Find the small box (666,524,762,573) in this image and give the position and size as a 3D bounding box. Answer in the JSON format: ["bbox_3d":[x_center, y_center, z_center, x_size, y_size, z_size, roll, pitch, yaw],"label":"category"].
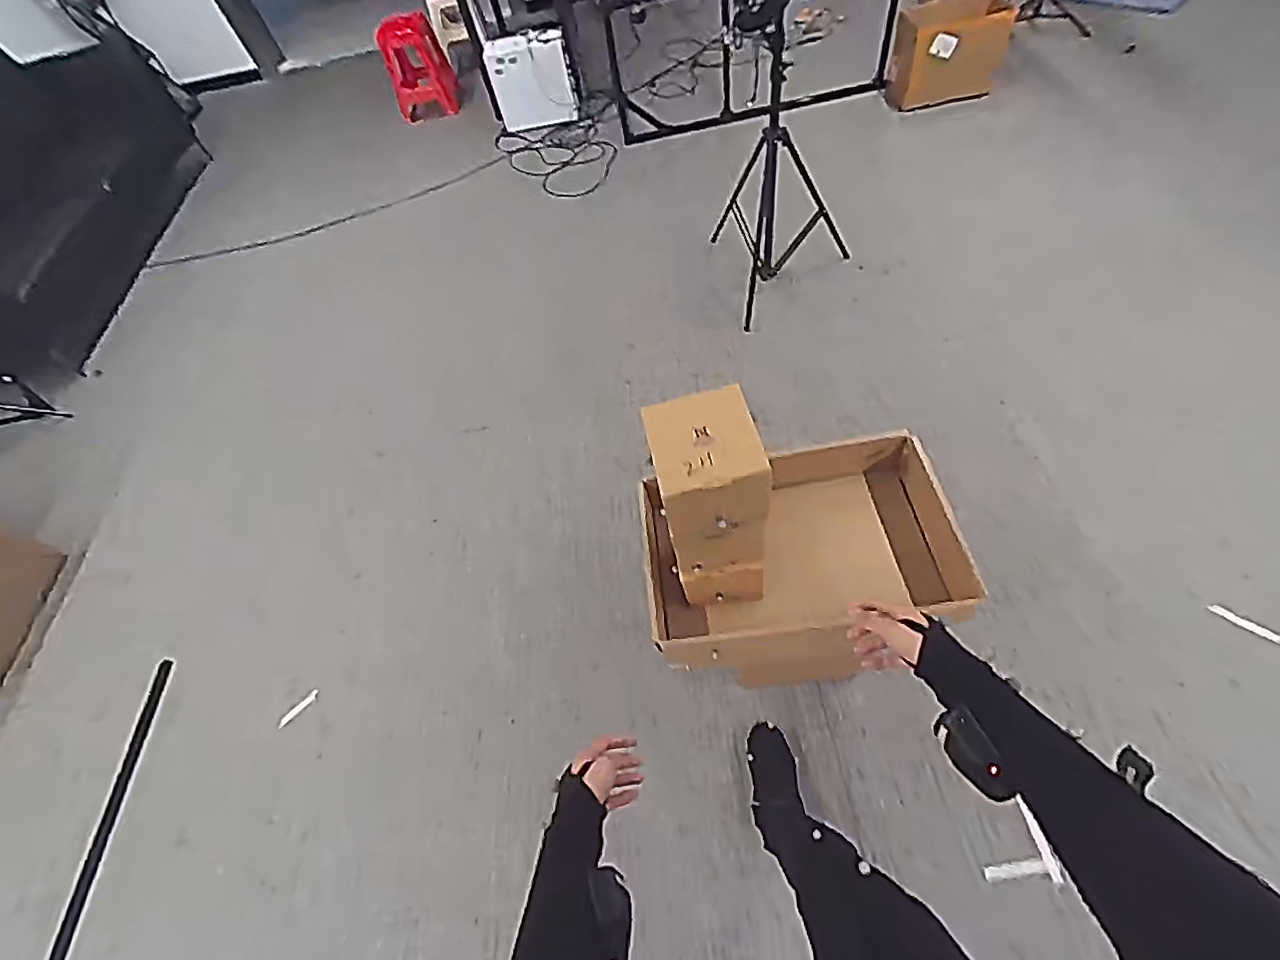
[{"bbox_3d":[0.136,0.065,1.031,0.168,0.176,0.179,-11,56,5],"label":"small box"}]

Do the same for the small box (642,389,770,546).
[{"bbox_3d":[0.108,-0.016,0.891,0.168,0.176,0.179,-14,57,4],"label":"small box"}]

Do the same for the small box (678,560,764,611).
[{"bbox_3d":[0.165,0.162,1.161,0.168,0.176,0.179,-11,57,6],"label":"small box"}]
